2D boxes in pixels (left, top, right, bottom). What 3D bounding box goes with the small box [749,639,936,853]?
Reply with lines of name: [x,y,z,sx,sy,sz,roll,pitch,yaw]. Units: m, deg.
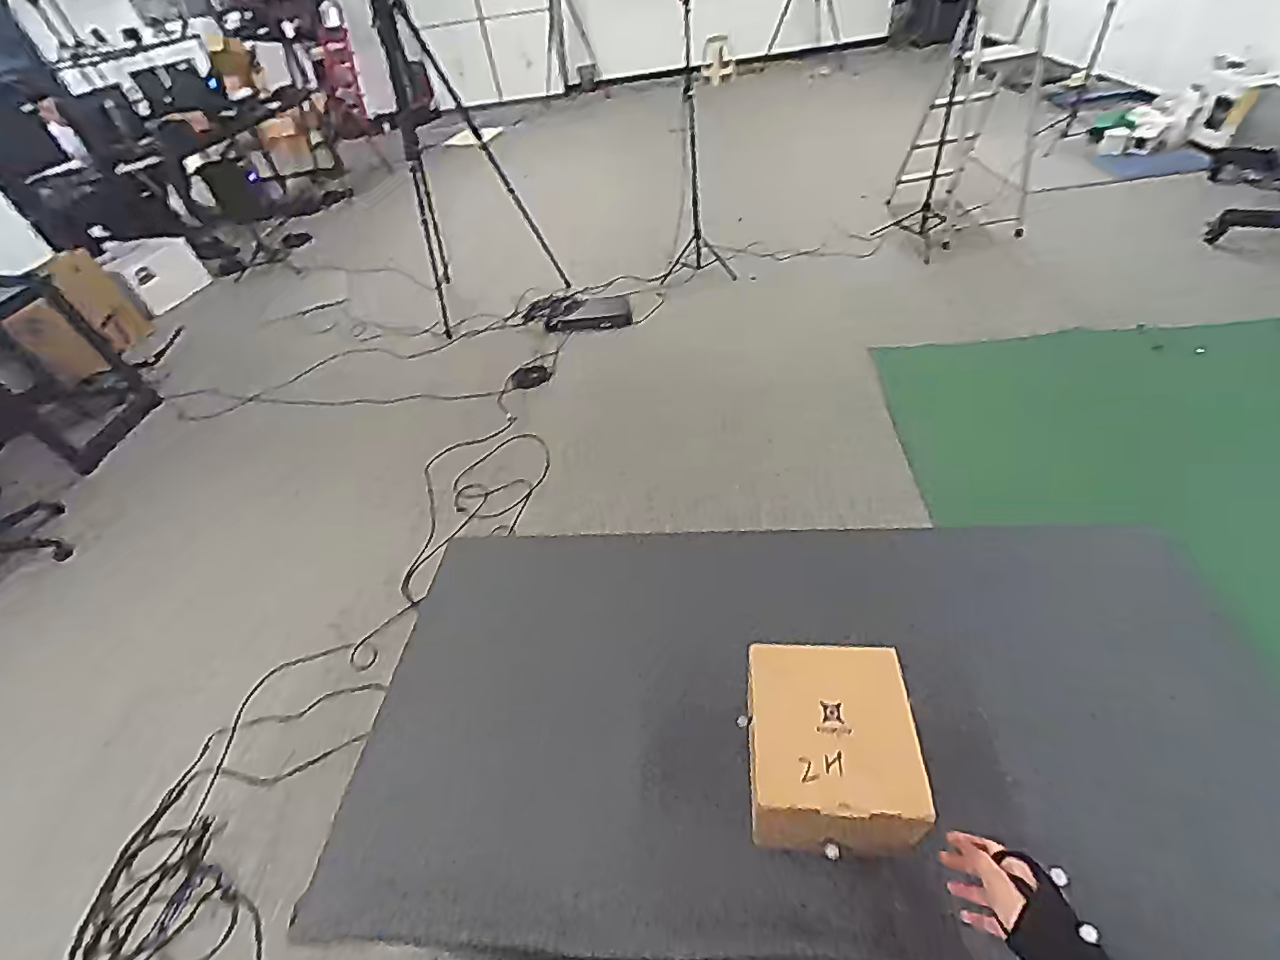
small box: [0.215,0.307,0.631,0.168,0.176,0.179,-2,45,9]
